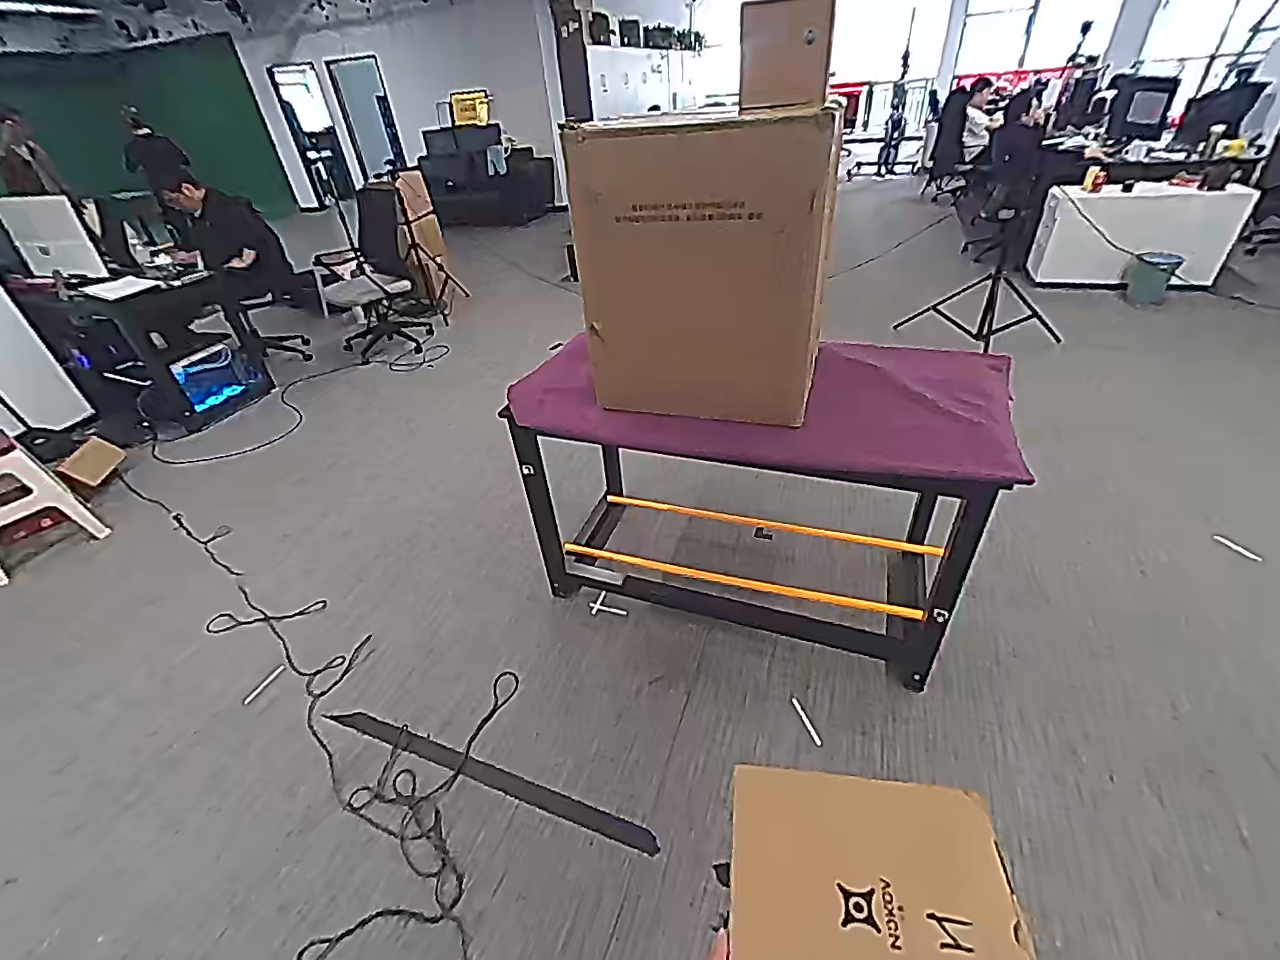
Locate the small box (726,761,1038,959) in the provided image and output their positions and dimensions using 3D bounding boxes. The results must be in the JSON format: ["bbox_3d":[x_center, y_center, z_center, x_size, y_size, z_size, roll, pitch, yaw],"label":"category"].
[{"bbox_3d":[0.152,0.329,0.379,0.179,0.176,0.168,2,36,11],"label":"small box"}]
